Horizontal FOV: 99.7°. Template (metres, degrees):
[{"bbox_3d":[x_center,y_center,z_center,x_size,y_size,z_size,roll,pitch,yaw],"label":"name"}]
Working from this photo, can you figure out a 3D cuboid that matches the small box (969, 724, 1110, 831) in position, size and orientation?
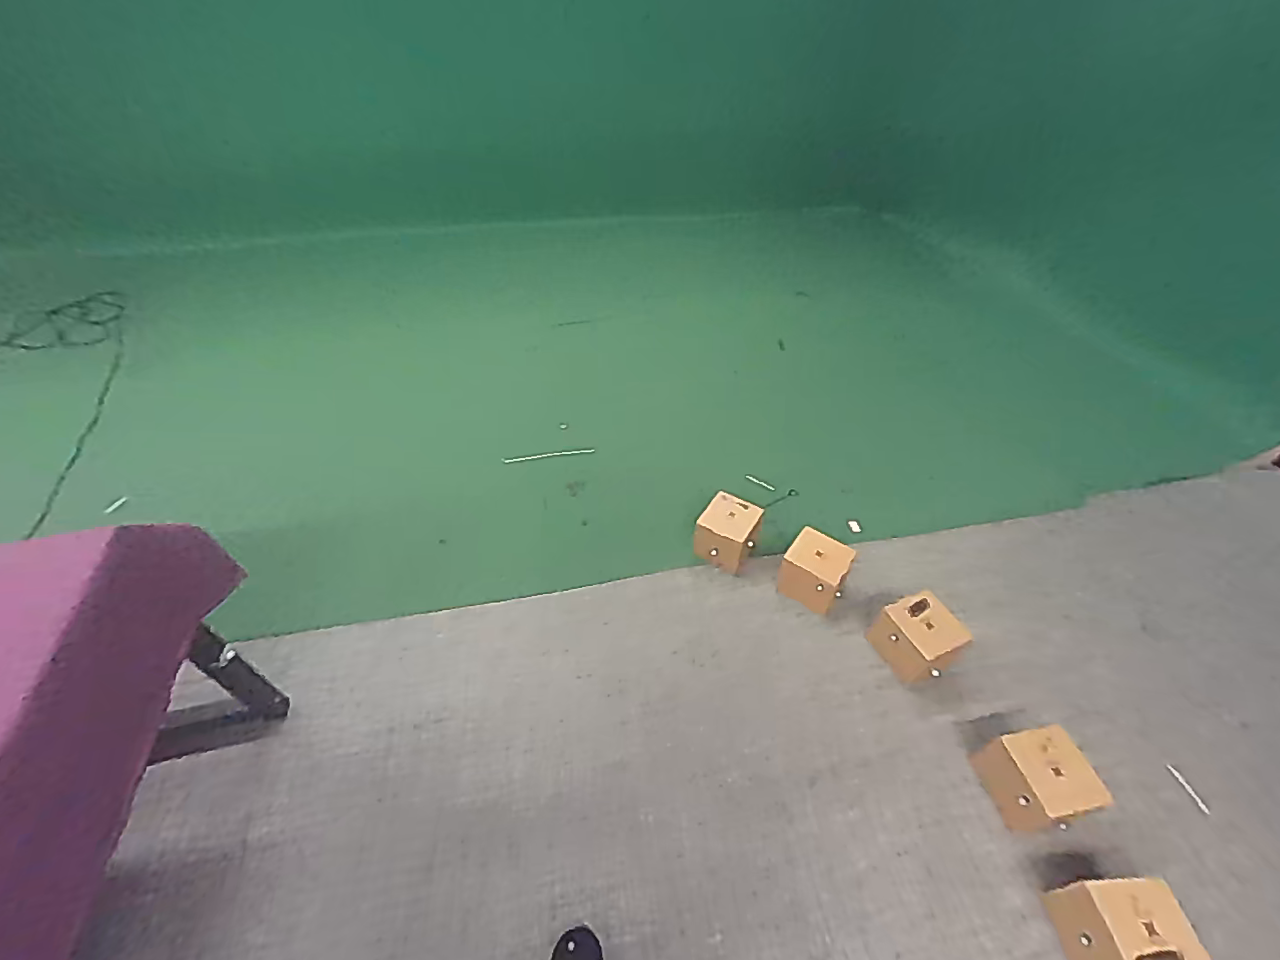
[{"bbox_3d":[0.935,0.712,1.285,0.168,0.176,0.179,-7,46,-8],"label":"small box"}]

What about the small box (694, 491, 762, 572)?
[{"bbox_3d":[0.290,0.175,1.813,0.168,0.176,0.179,25,51,22],"label":"small box"}]

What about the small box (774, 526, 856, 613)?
[{"bbox_3d":[0.547,0.286,1.709,0.179,0.176,0.168,29,51,25],"label":"small box"}]
